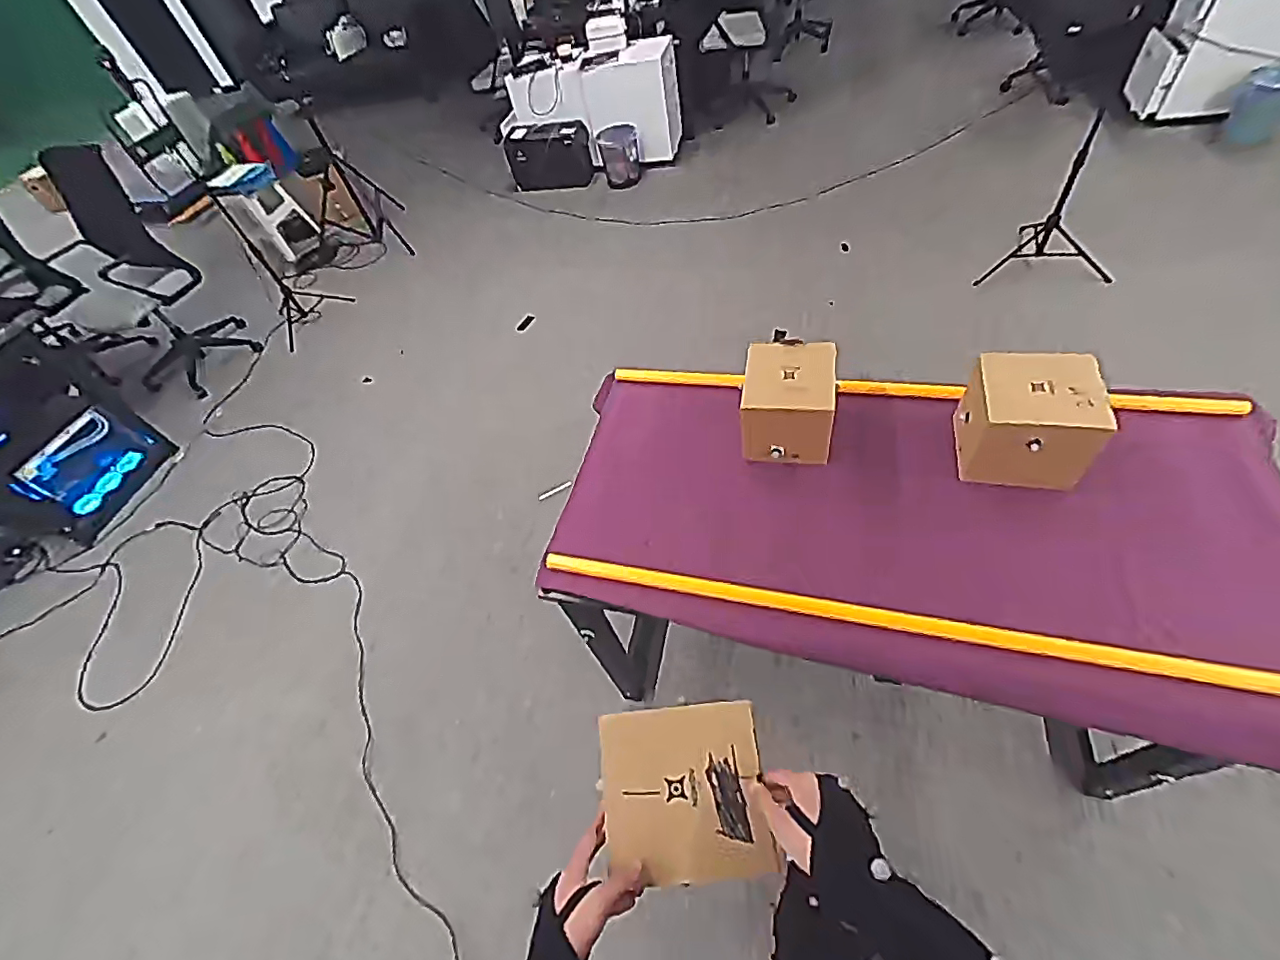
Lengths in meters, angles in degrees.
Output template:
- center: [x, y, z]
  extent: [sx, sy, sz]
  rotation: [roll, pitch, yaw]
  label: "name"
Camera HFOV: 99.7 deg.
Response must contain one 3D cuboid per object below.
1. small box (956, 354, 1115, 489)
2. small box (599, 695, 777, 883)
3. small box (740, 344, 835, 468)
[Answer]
- center: [0.669, -0.099, 0.945]
  extent: [0.179, 0.176, 0.168]
  rotation: [6, 56, 16]
  label: "small box"
- center: [0.047, 0.357, 0.648]
  extent: [0.179, 0.176, 0.168]
  rotation: [-6, 64, -1]
  label: "small box"
- center: [0.290, -0.147, 1.066]
  extent: [0.168, 0.176, 0.179]
  rotation: [3, 55, 16]
  label: "small box"
